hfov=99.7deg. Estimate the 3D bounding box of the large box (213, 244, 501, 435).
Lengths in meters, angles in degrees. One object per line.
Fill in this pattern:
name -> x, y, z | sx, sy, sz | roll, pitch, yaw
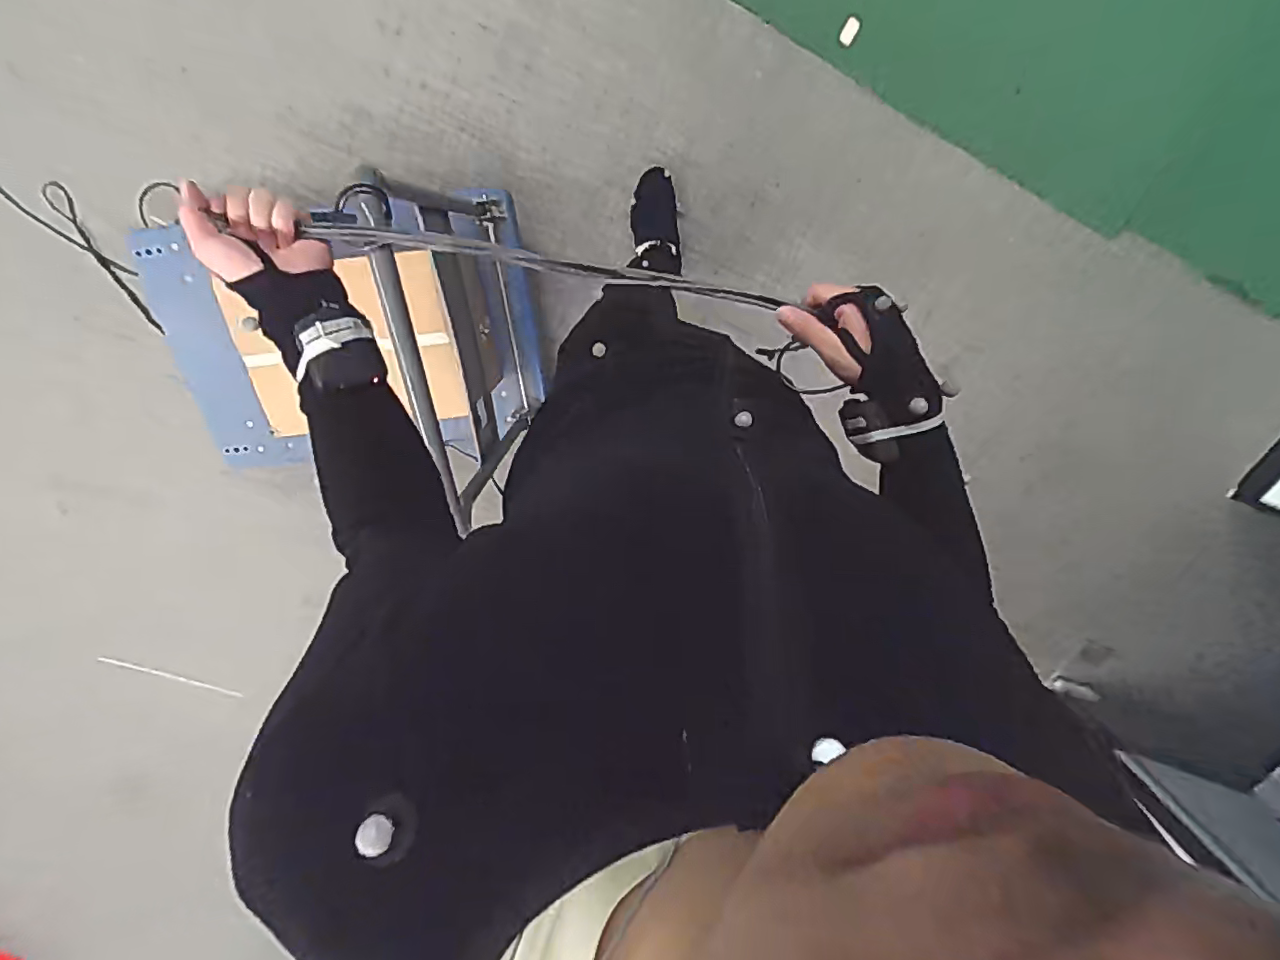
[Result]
large box -> -0.553, -0.313, 1.155 | 0.408, 0.320, 0.320 | -6, 113, 2
